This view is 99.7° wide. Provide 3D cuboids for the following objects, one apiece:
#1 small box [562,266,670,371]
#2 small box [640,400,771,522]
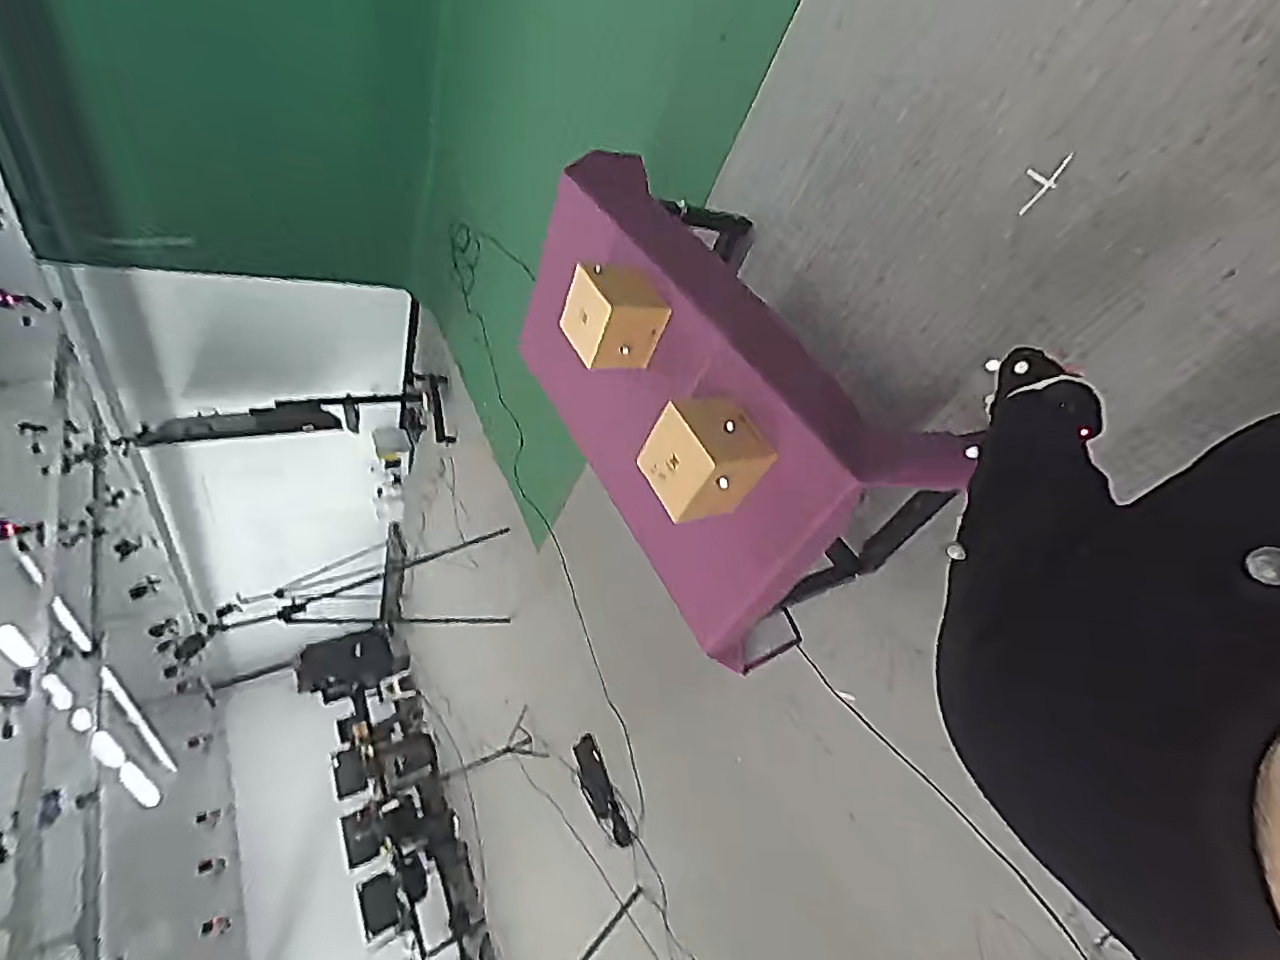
[{"bbox_3d":[-0.056,-0.378,1.265,0.179,0.176,0.168,58,139,29],"label":"small box"},{"bbox_3d":[0.134,-0.044,1.077,0.168,0.176,0.179,59,140,28],"label":"small box"}]
